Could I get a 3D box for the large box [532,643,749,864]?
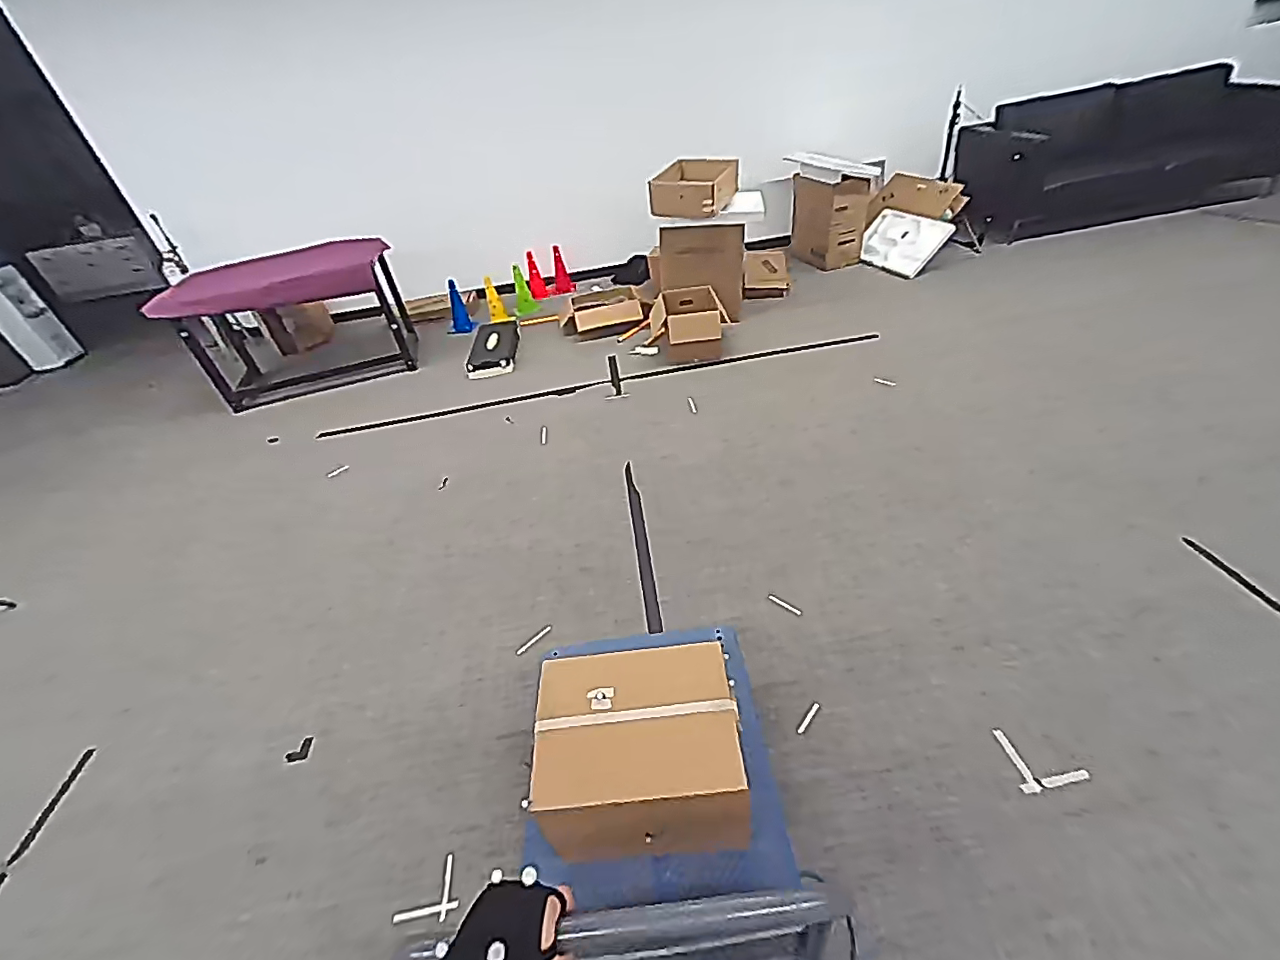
[{"bbox_3d":[0.009,0.605,1.196,0.408,0.320,0.320,-9,37,3],"label":"large box"}]
